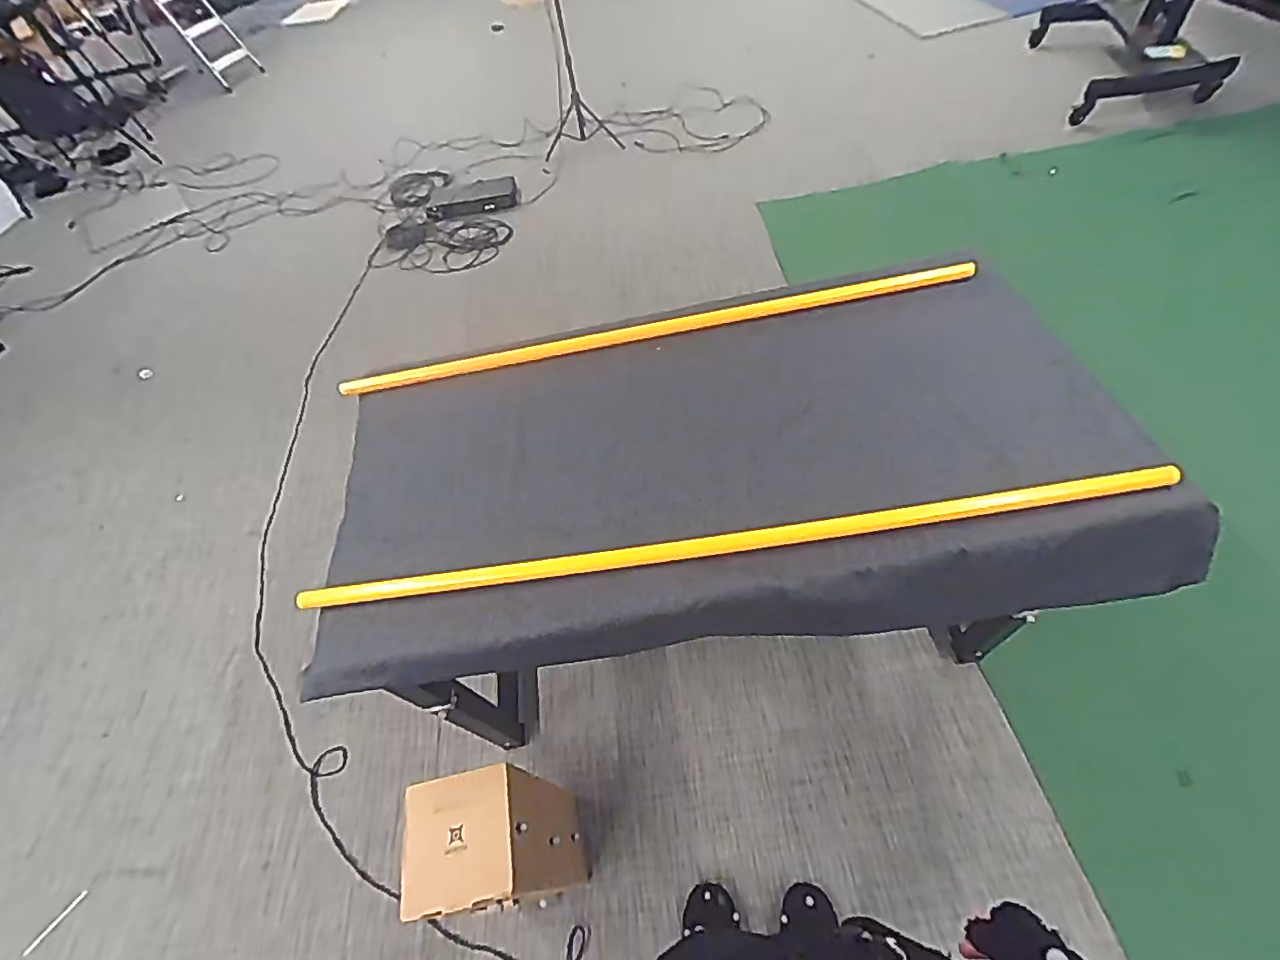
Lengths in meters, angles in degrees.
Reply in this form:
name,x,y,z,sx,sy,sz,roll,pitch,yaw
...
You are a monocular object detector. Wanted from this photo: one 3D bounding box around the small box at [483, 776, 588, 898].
name,x,y,z,sx,sy,sz,roll,pitch,yaw
small box,-0.219,0.754,1.146,0.168,0.176,0.179,-17,55,-2
